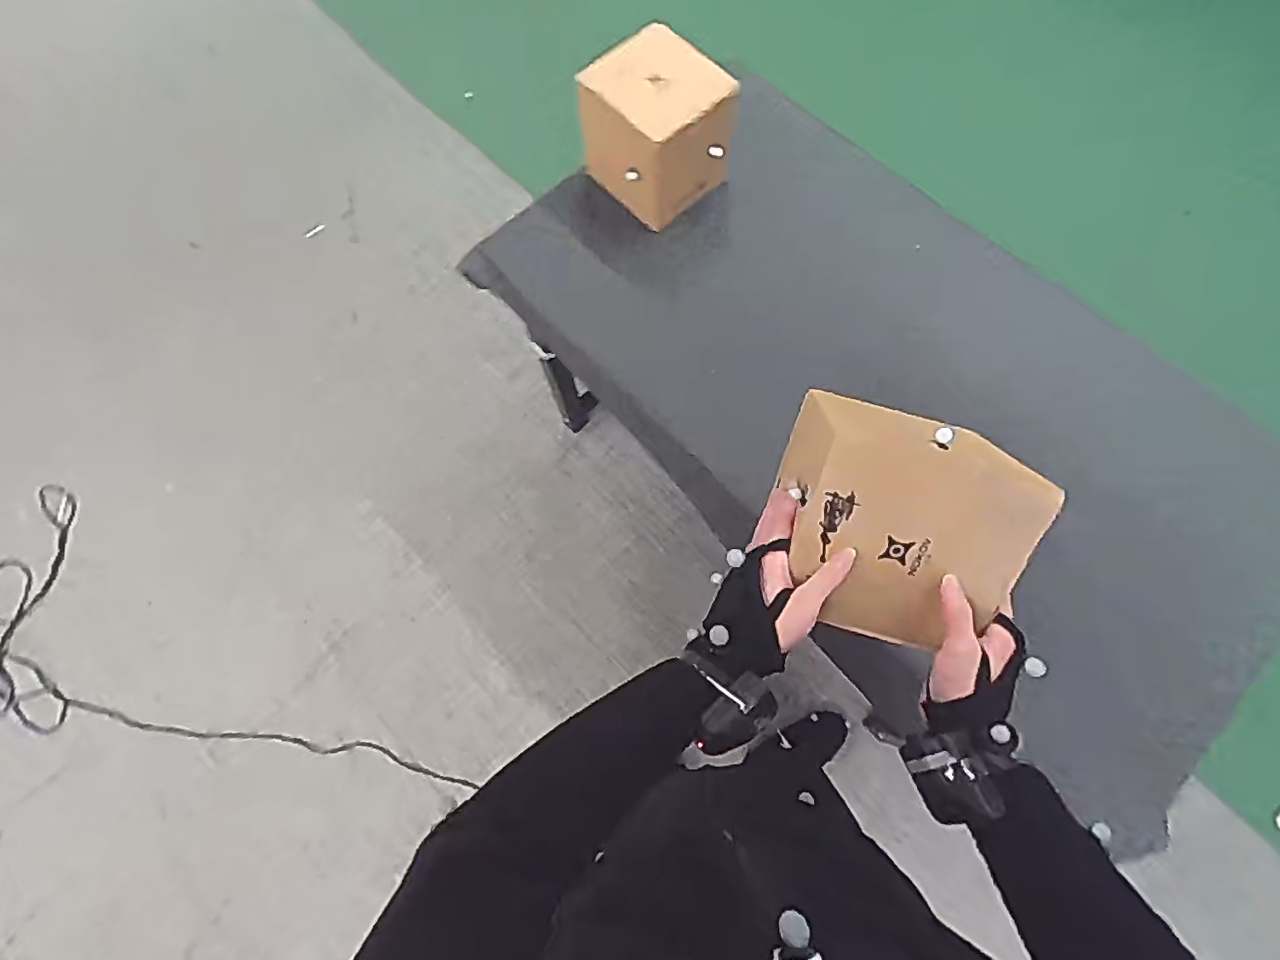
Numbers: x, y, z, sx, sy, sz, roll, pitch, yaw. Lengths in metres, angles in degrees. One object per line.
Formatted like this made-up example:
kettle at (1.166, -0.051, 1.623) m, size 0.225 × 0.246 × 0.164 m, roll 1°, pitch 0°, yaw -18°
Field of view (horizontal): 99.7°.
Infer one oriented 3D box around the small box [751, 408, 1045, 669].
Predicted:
small box at (0.216, 0.042, 0.515) m, size 0.179 × 0.176 × 0.168 m, roll 15°, pitch 111°, yaw 2°

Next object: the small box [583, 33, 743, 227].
small box at (0.032, -0.534, 0.849) m, size 0.168 × 0.176 × 0.179 m, roll -38°, pitch 76°, yaw -13°
